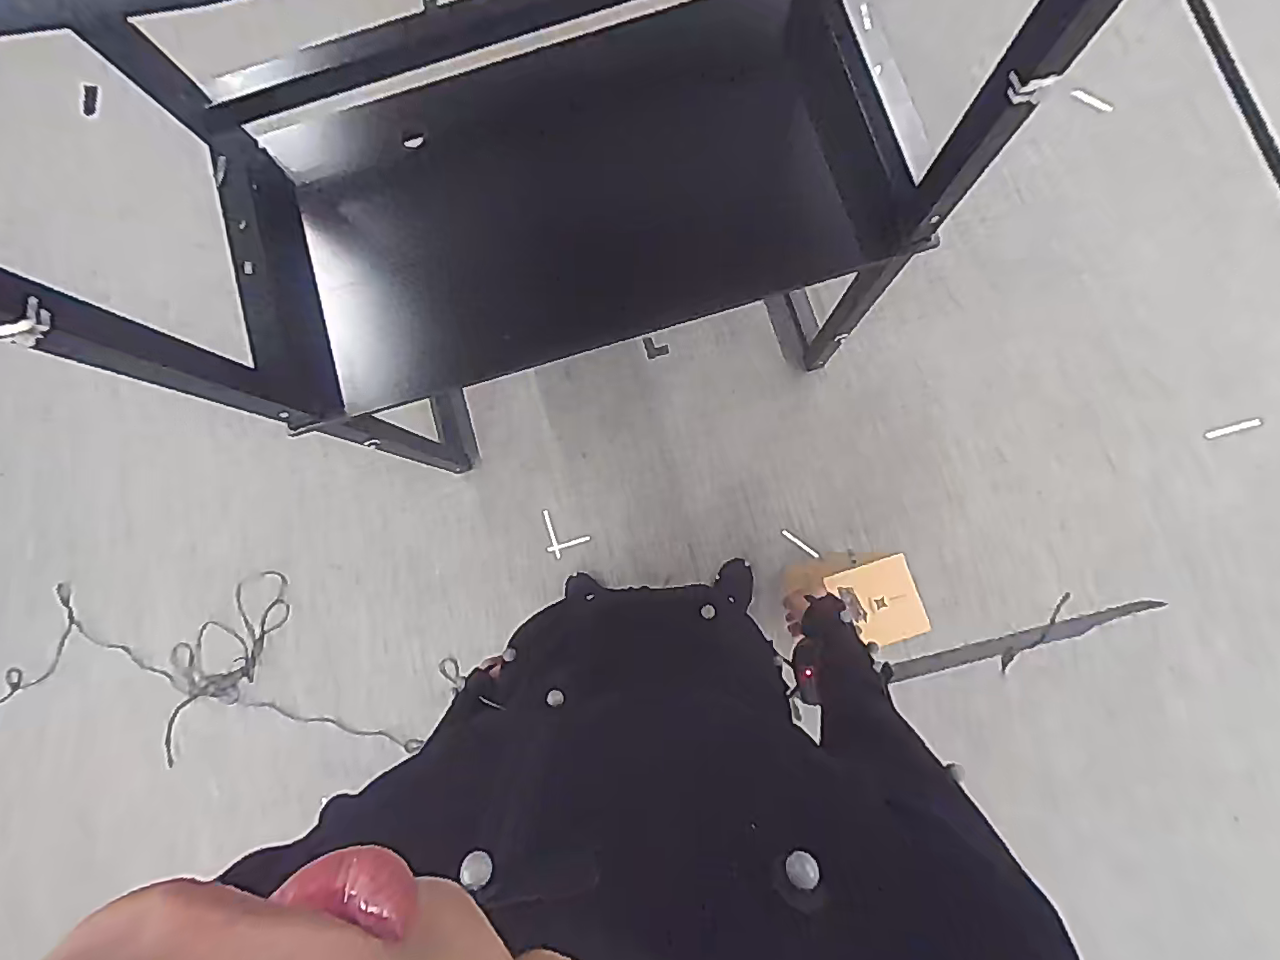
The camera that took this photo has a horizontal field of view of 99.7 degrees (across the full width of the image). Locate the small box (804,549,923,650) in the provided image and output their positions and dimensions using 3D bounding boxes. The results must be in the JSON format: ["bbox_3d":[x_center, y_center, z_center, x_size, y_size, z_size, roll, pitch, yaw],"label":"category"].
[{"bbox_3d":[0.474,0.255,1.186,0.179,0.176,0.168,-18,84,1],"label":"small box"}]

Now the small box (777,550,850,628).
[{"bbox_3d":[0.502,0.297,1.511,0.179,0.176,0.168,-17,83,2],"label":"small box"}]
